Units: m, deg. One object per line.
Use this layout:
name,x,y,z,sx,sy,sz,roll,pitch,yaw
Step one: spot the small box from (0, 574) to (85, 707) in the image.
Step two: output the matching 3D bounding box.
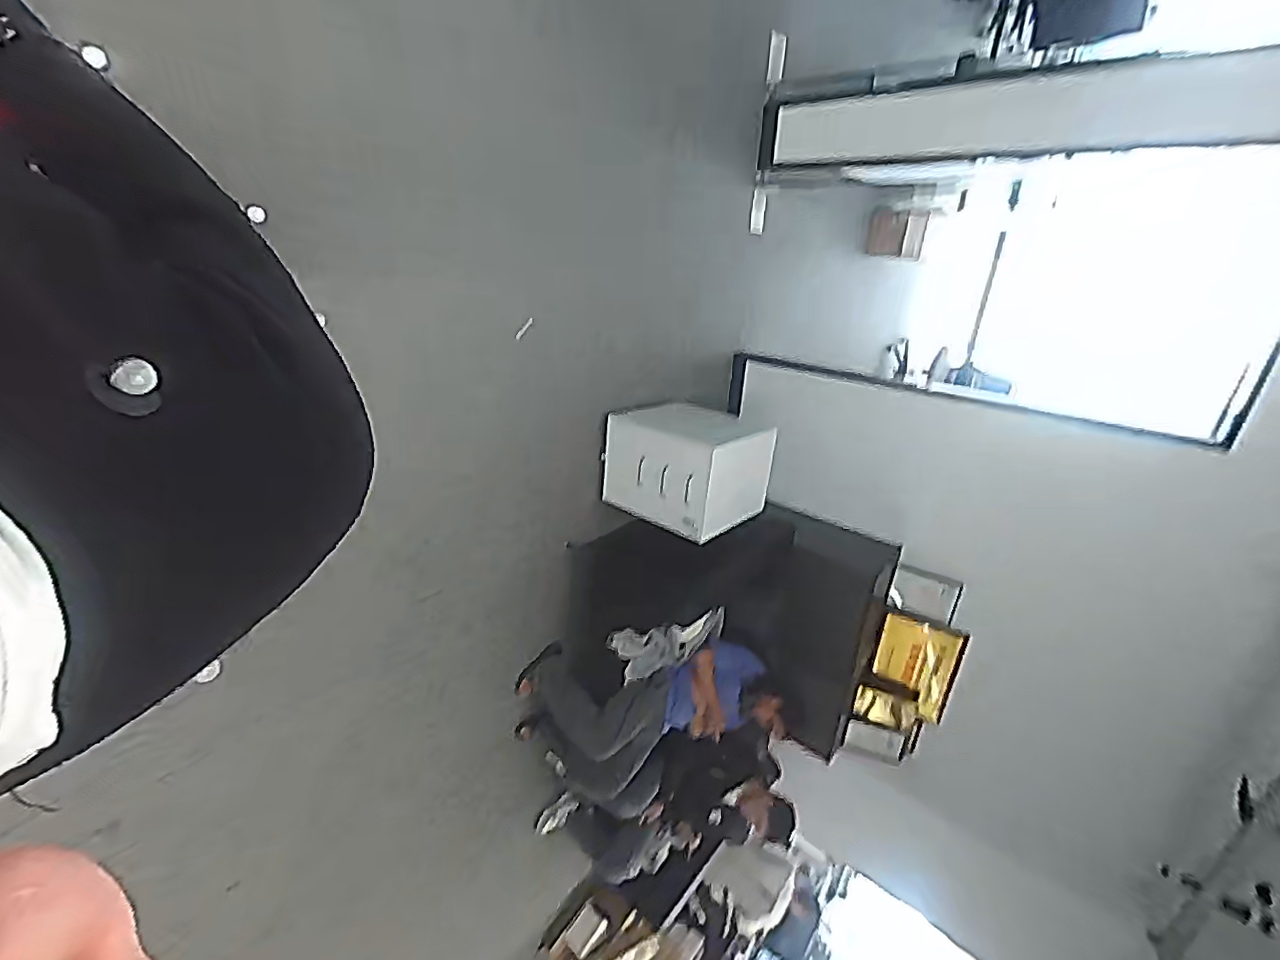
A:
small box,-1.281,0.307,1.069,0.179,0.176,0.168,-53,143,-23
